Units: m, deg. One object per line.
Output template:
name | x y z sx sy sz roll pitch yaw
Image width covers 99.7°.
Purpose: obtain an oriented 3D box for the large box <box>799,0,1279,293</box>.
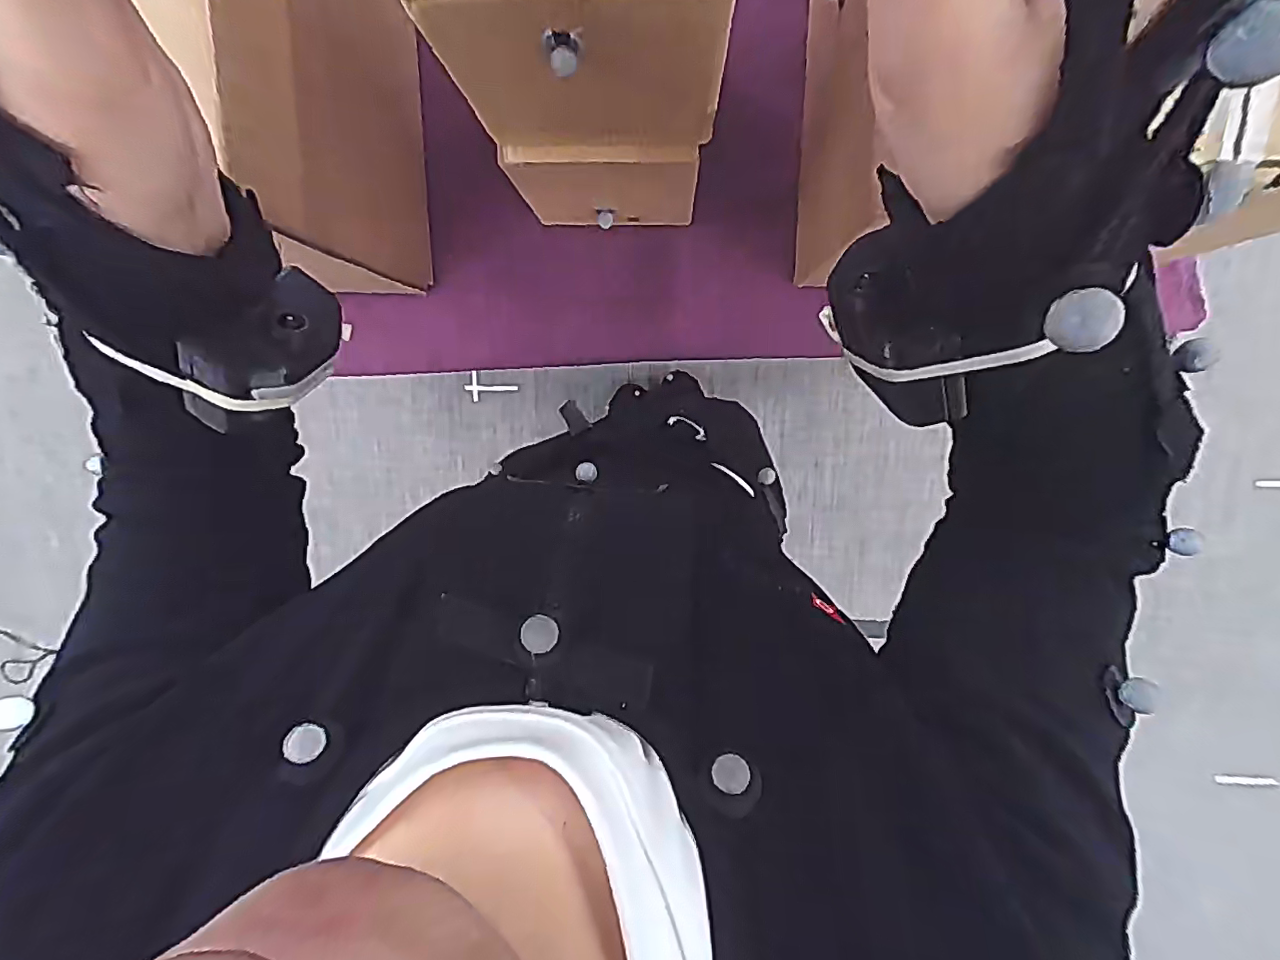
large box | 0.311 -0.381 0.411 0.320 0.320 0.408 0 98 2
